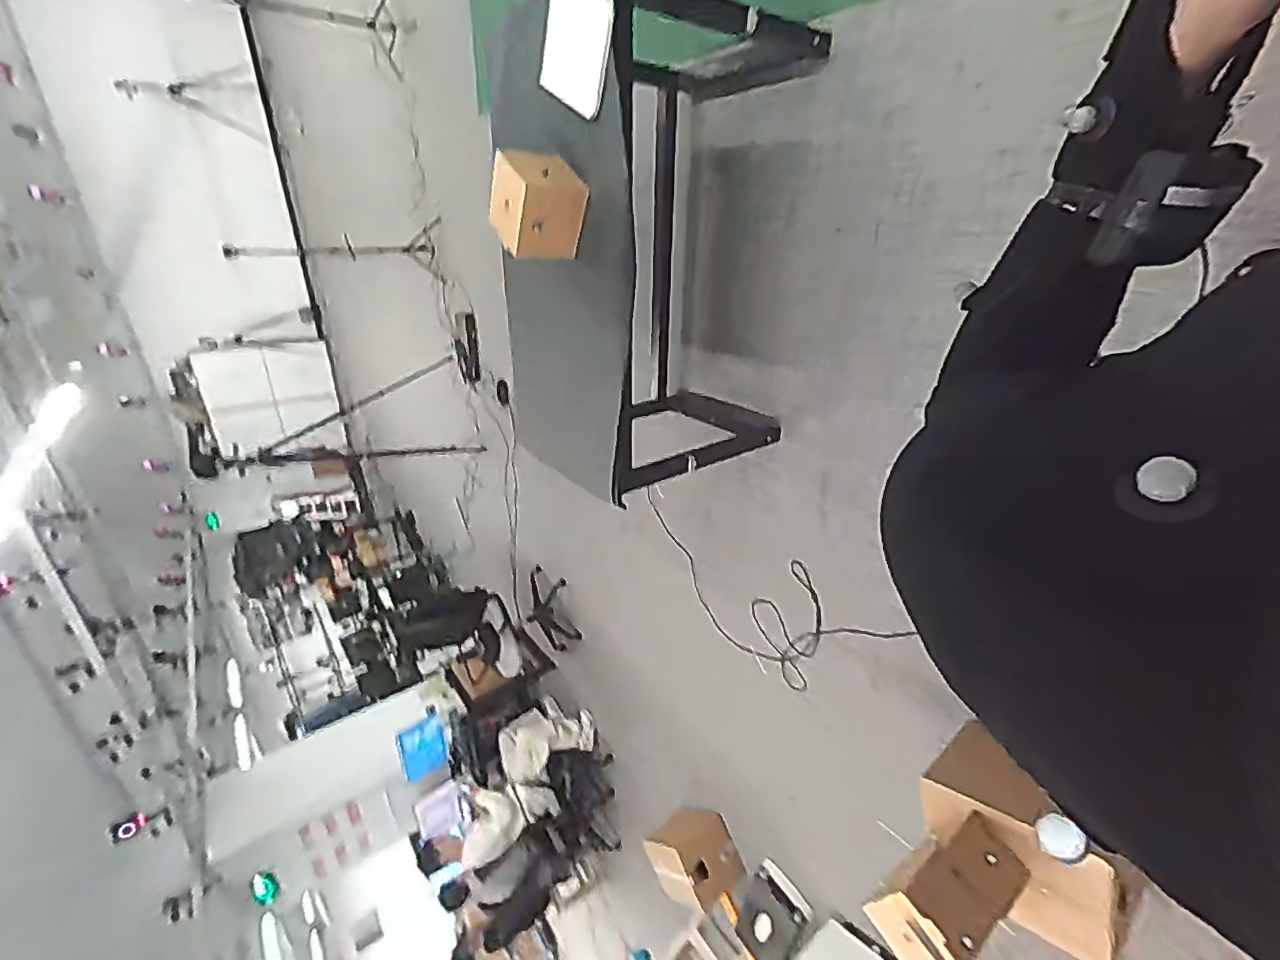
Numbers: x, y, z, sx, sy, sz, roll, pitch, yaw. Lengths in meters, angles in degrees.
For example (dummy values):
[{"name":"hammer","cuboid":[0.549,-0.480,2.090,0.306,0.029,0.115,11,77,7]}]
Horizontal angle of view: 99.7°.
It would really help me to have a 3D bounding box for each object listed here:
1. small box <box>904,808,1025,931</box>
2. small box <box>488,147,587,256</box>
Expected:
[{"name":"small box","cuboid":[0.799,0.948,1.326,0.168,0.176,0.179,49,137,30]},{"name":"small box","cuboid":[-0.247,-0.667,1.303,0.168,0.176,0.179,55,143,25]}]
